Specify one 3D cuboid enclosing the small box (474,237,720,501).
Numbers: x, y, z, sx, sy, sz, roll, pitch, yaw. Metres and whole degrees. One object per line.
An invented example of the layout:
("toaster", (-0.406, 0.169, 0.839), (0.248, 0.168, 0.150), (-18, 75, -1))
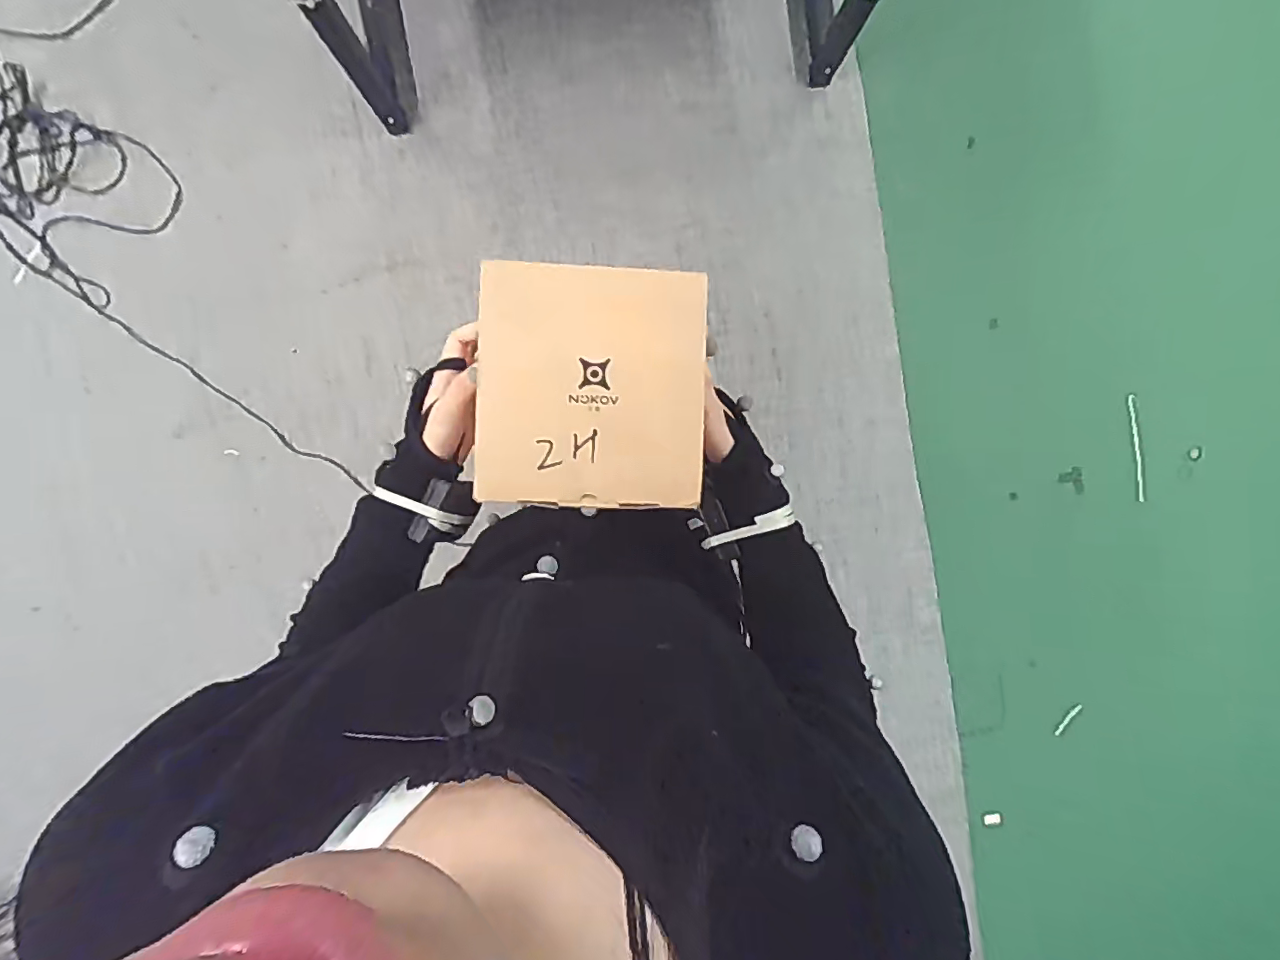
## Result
("small box", (-0.035, -0.075, 0.454), (0.168, 0.176, 0.179), (2, 90, -5))
